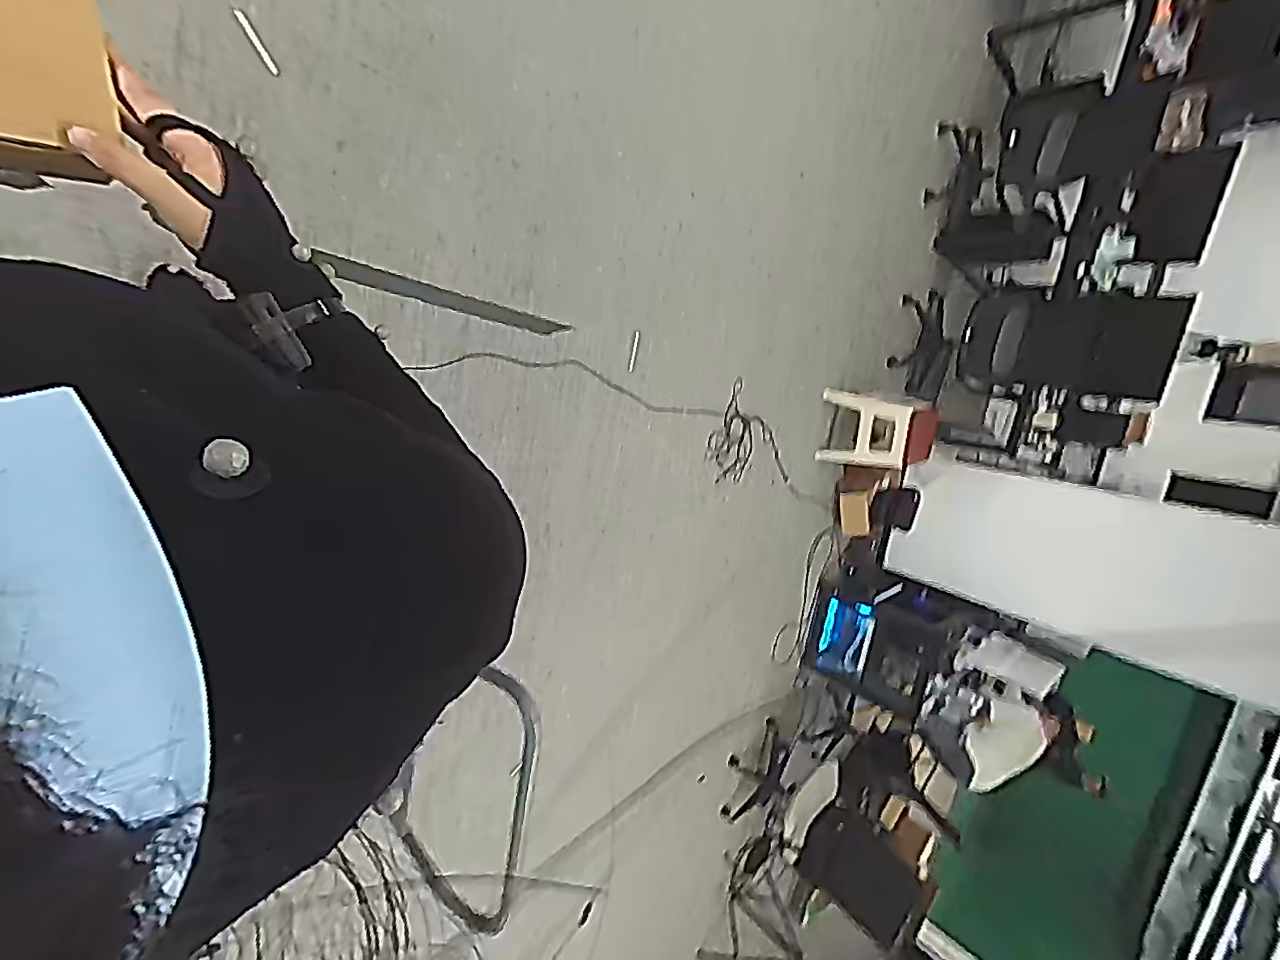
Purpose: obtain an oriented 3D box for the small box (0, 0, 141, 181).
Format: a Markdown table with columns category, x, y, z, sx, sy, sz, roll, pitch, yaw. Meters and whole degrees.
| category | x | y | z | sx | sy | sz | roll | pitch | yaw |
| --- | --- | --- | --- | --- | --- | --- | --- | --- | --- |
| small box | -0.446 | -0.306 | 0.338 | 0.168 | 0.176 | 0.179 | -12 | 115 | -46 |
